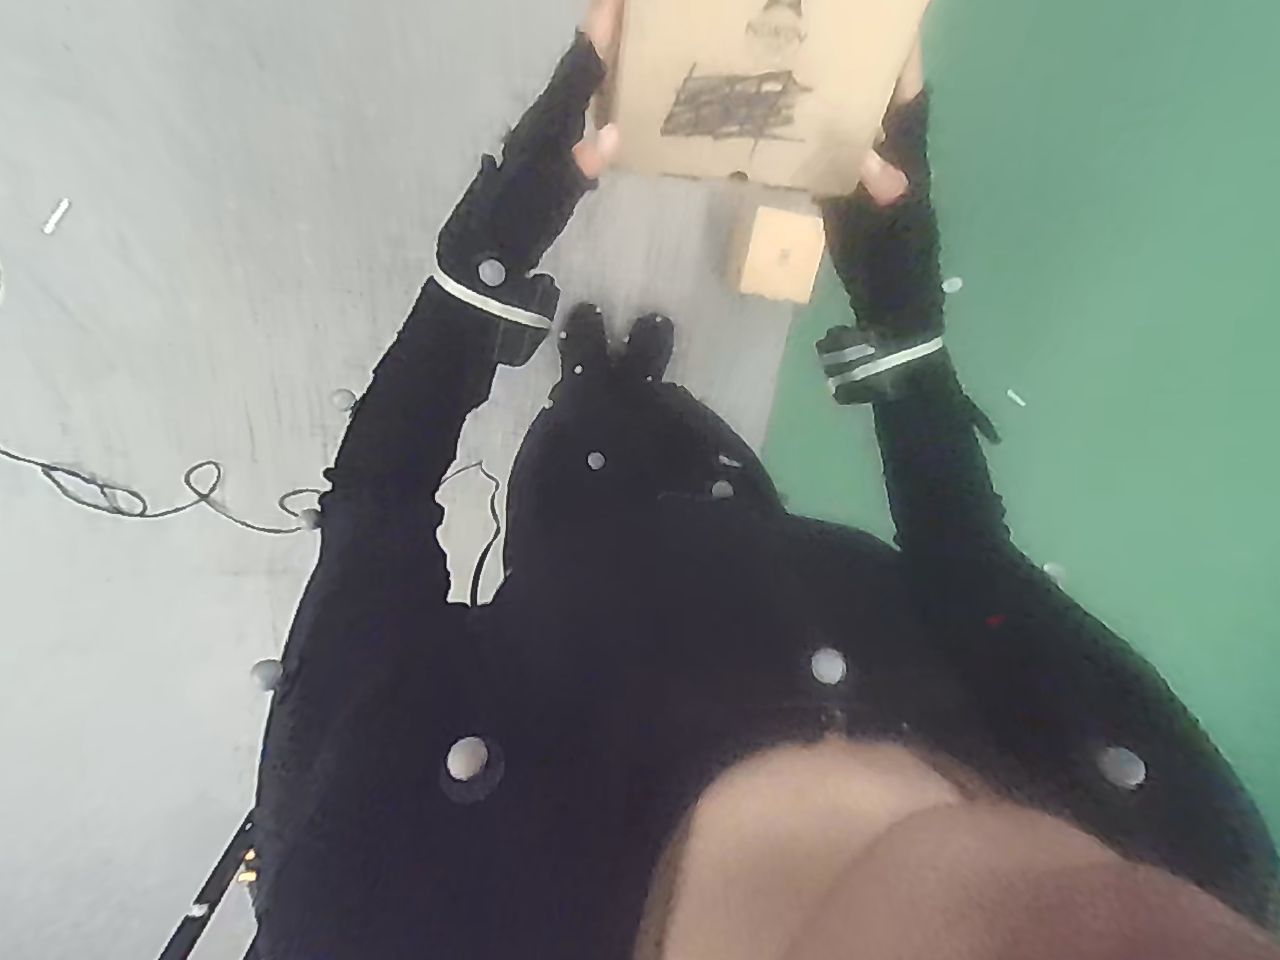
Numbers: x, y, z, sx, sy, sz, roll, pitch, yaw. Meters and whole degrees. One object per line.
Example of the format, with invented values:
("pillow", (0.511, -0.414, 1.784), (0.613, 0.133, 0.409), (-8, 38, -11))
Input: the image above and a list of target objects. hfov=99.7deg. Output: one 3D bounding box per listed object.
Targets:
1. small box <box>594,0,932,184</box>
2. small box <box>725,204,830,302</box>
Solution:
("small box", (0.065, -0.314, 0.335), (0.168, 0.176, 0.179), (-1, 136, -13))
("small box", (0.305, -0.518, 1.244), (0.168, 0.176, 0.179), (7, 112, -8))
